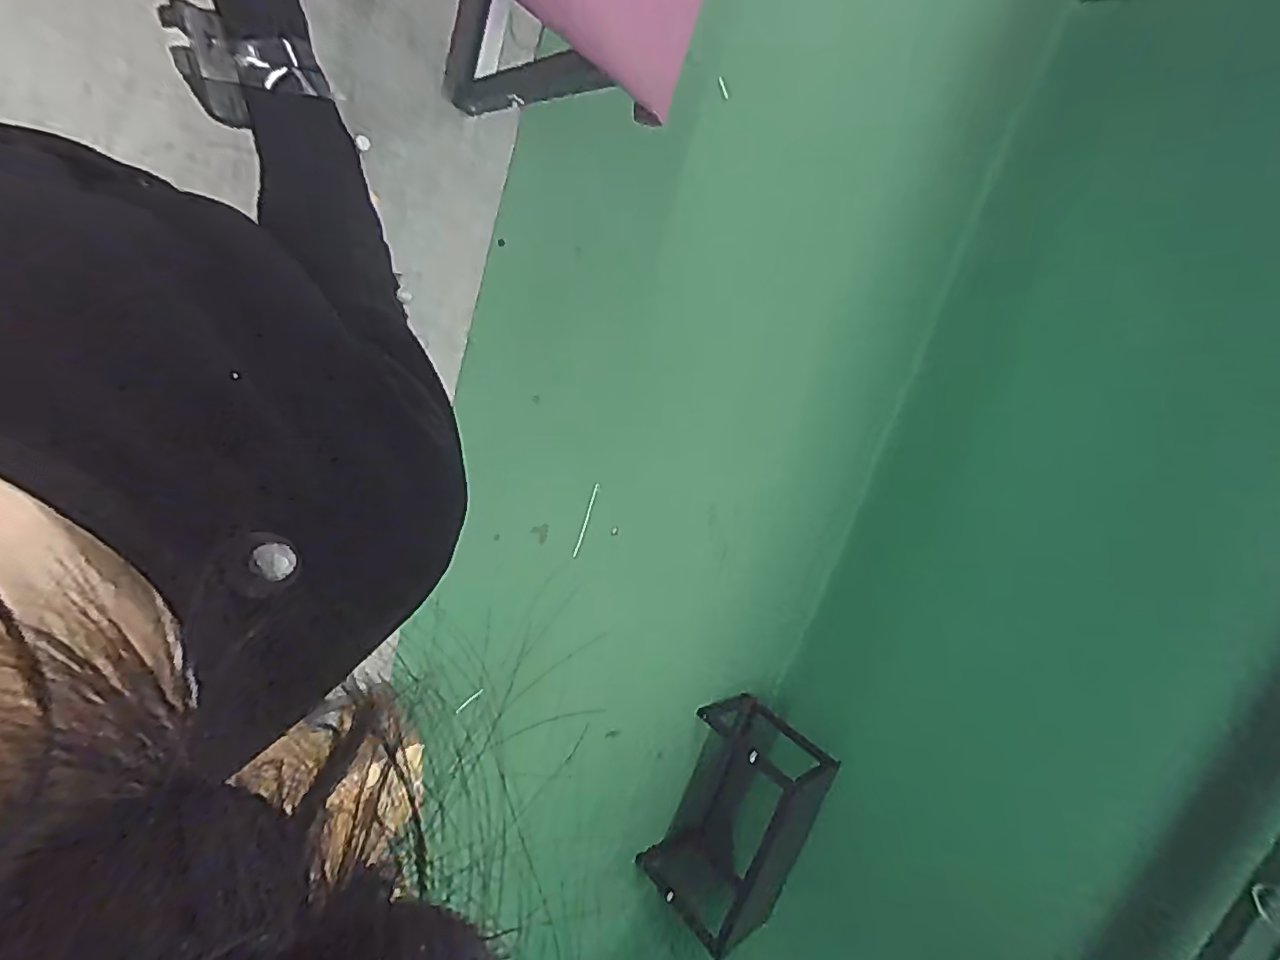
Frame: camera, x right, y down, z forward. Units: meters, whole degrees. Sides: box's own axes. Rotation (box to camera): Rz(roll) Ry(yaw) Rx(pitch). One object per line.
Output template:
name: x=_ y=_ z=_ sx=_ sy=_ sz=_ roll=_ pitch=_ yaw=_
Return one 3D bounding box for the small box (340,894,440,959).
small box: x=-0.569 y=1.096 z=1.227 sx=0.168 sy=0.176 sz=0.179 roll=-7 pitch=114 yaw=-42

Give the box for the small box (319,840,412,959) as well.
small box: x=-0.680 y=1.036 z=1.333 sx=0.168 sy=0.176 sz=0.179 roll=-6 pitch=114 yaw=-43

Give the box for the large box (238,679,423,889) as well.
large box: x=-0.920 y=0.881 z=1.628 sx=0.408 sy=0.320 sz=0.320 roll=-13 pitch=121 yaw=-41

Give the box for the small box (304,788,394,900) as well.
small box: x=-0.779 y=0.973 z=1.448 sx=0.179 sy=0.176 sz=0.168 roll=-8 pitch=115 yaw=-42
